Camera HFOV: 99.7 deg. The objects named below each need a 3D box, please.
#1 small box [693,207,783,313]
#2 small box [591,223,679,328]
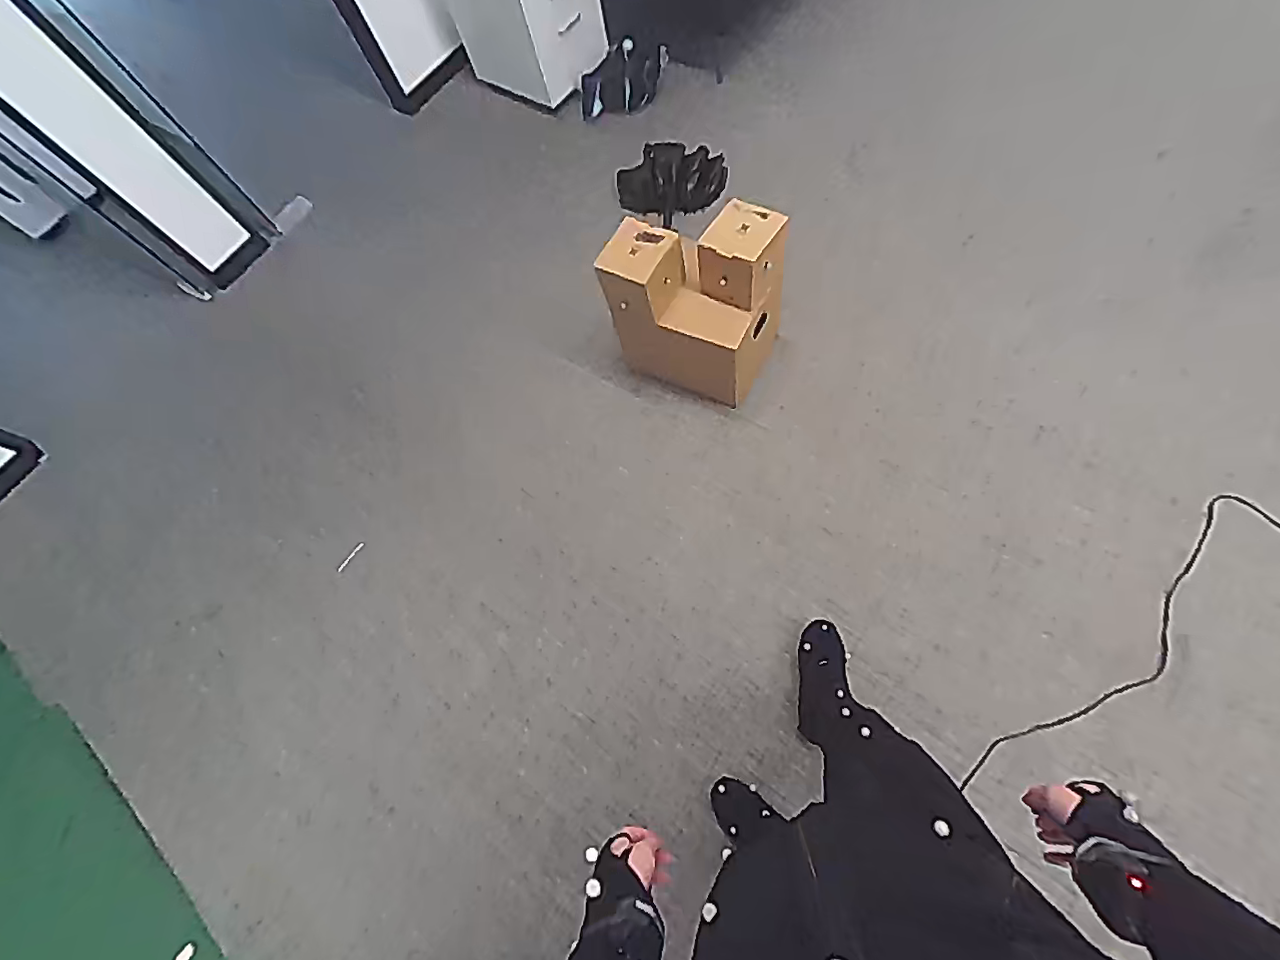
[{"bbox_3d":[0.259,-0.576,1.431,0.168,0.176,0.179,30,73,20],"label":"small box"},{"bbox_3d":[-0.004,-0.550,1.465,0.168,0.176,0.179,28,76,20],"label":"small box"}]
